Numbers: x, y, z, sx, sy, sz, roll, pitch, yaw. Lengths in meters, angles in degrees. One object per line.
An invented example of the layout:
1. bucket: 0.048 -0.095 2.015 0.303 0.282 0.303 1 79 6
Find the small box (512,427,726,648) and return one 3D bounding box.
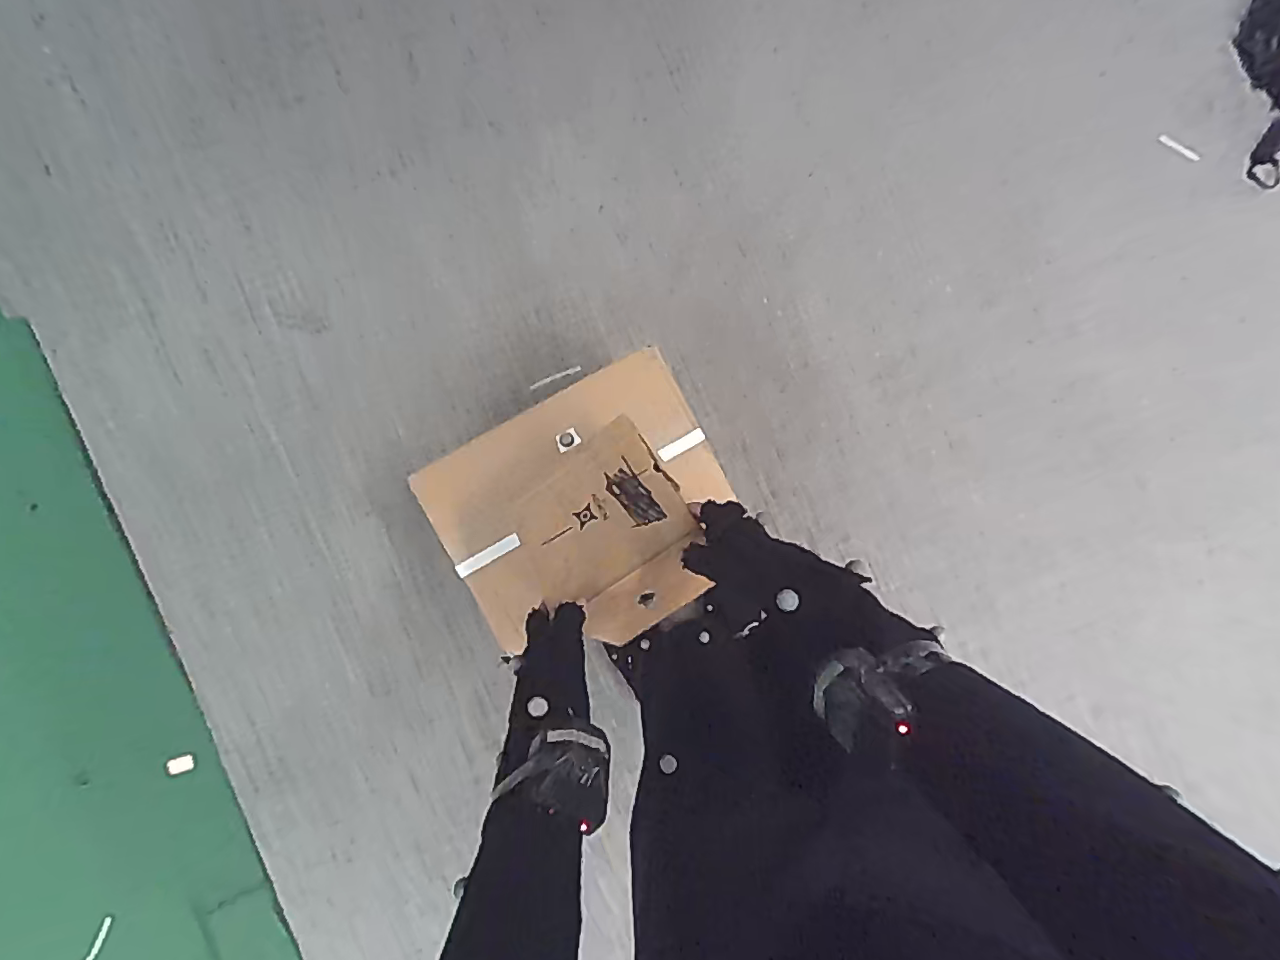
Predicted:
1. small box: -0.015 0.076 0.642 0.179 0.176 0.168 -36 56 6
